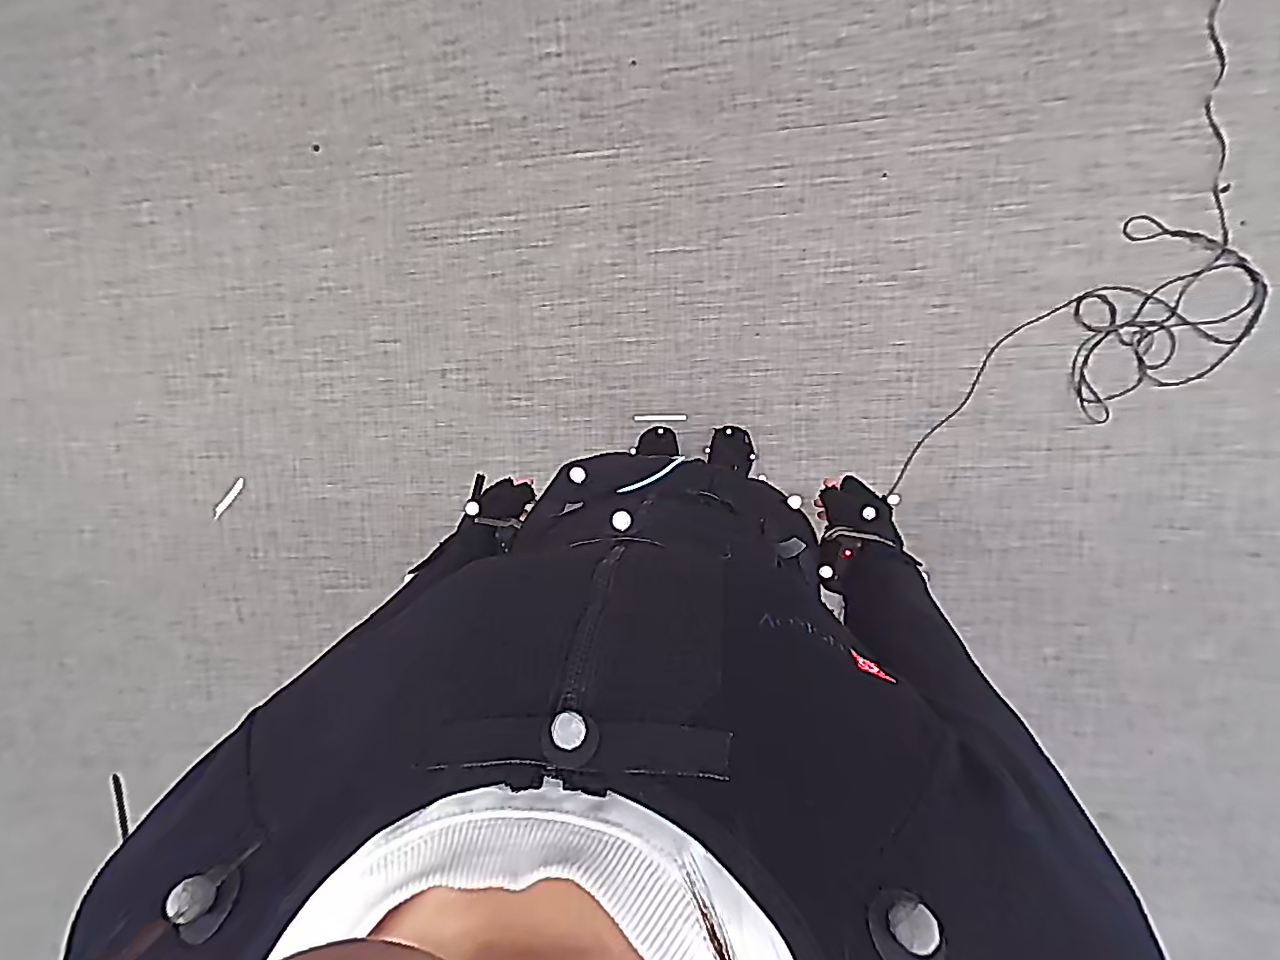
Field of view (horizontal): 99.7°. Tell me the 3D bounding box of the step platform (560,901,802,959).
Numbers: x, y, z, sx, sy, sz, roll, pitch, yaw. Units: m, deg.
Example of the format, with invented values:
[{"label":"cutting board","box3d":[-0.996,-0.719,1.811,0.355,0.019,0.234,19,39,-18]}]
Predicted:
[{"label":"step platform","box3d":[0.112,1.404,1.505,0.684,0.204,0.286,-2,96,9]}]
